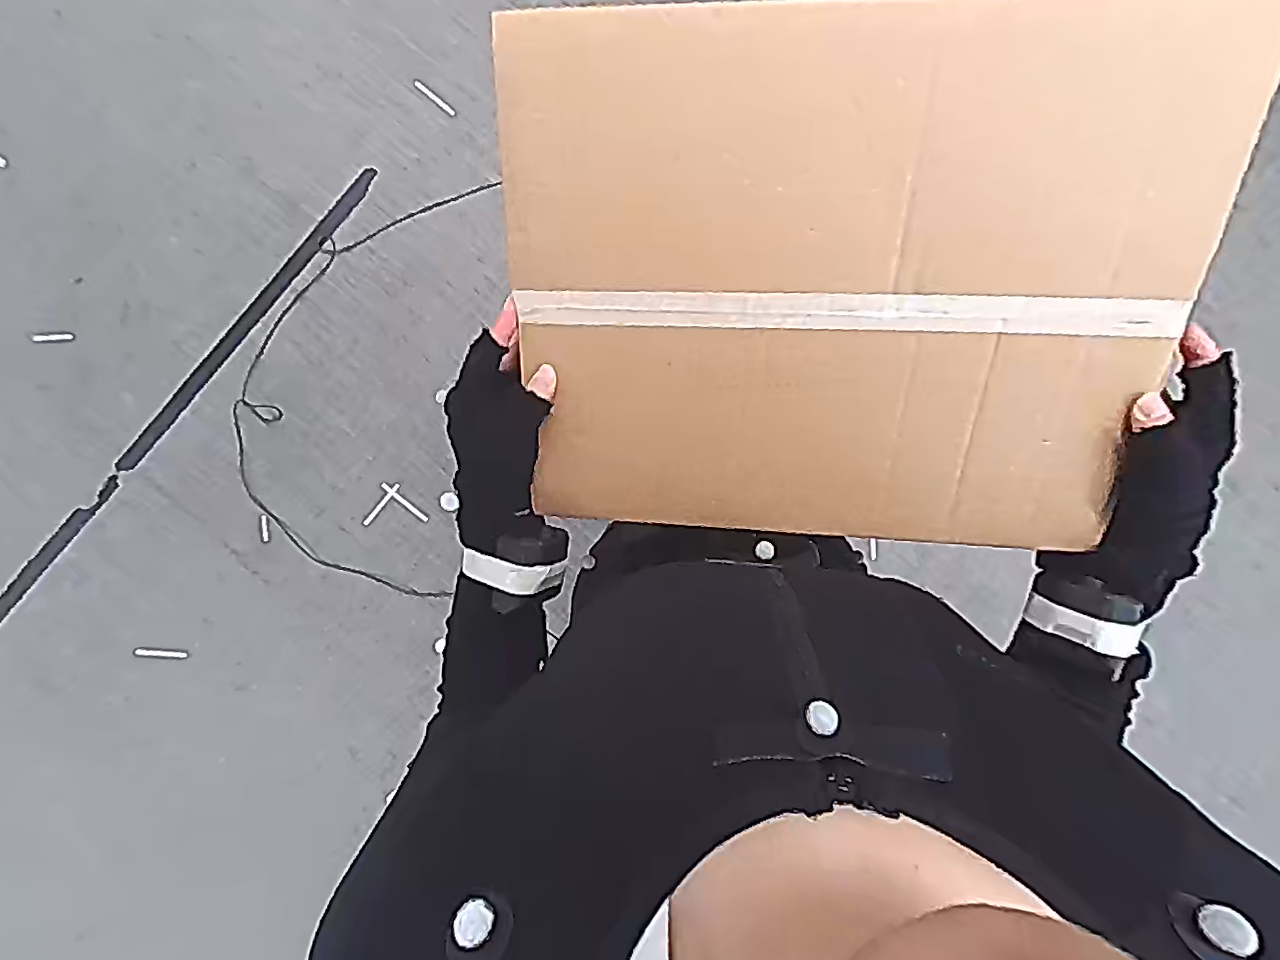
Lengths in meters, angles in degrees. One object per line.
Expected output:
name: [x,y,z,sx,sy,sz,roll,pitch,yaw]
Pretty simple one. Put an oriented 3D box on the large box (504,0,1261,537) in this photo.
large box: [0.133,-0.164,0.486,0.408,0.320,0.320,3,114,6]
